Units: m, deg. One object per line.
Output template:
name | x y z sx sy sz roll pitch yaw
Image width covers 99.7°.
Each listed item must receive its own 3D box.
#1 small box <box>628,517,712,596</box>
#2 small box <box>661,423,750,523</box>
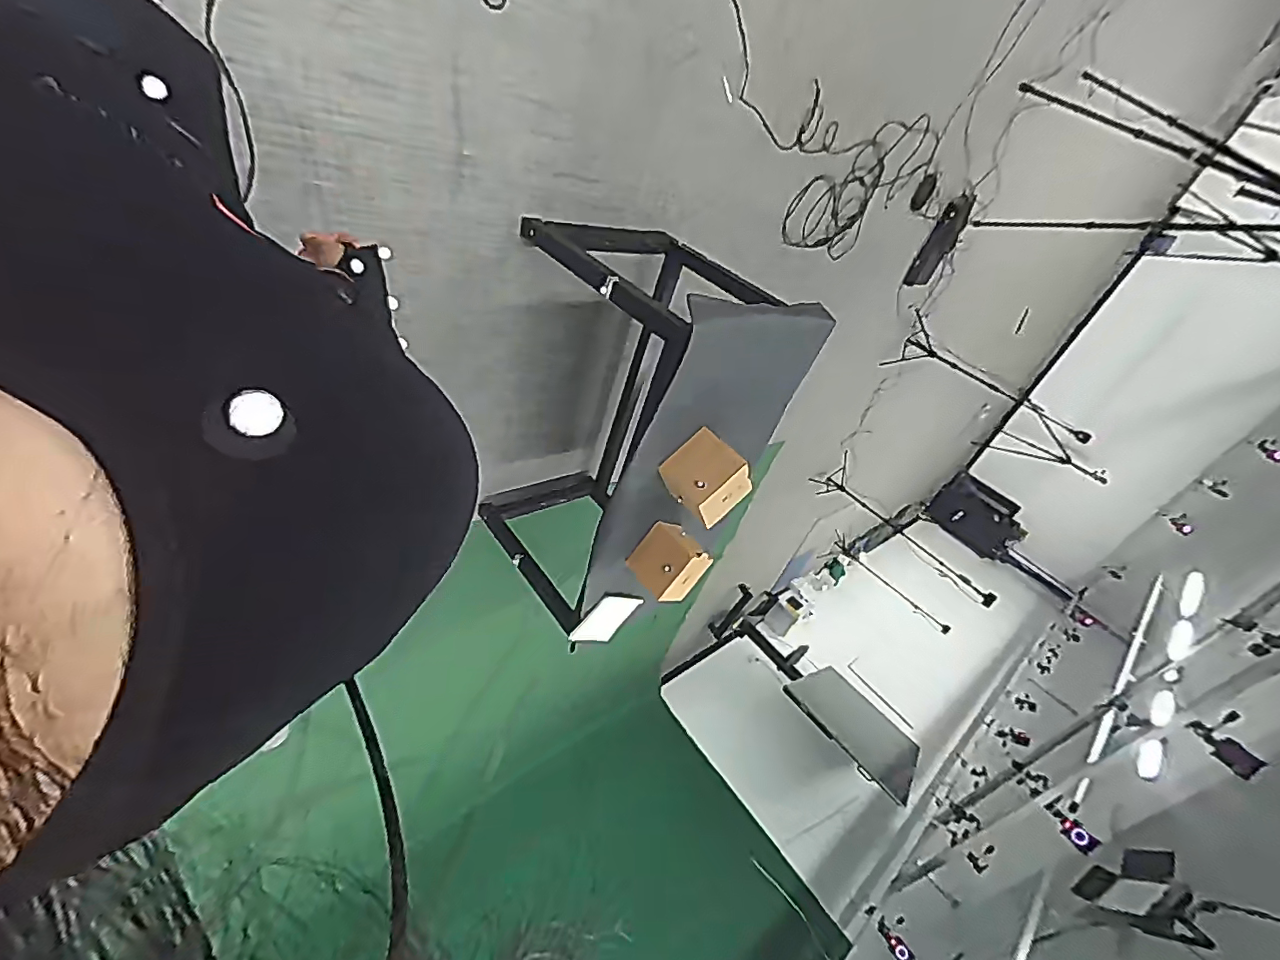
small box | 0.085 0.240 1.692 0.179 0.176 0.168 -53 150 10
small box | 0.175 -0.019 1.484 0.179 0.176 0.168 -42 151 -7
